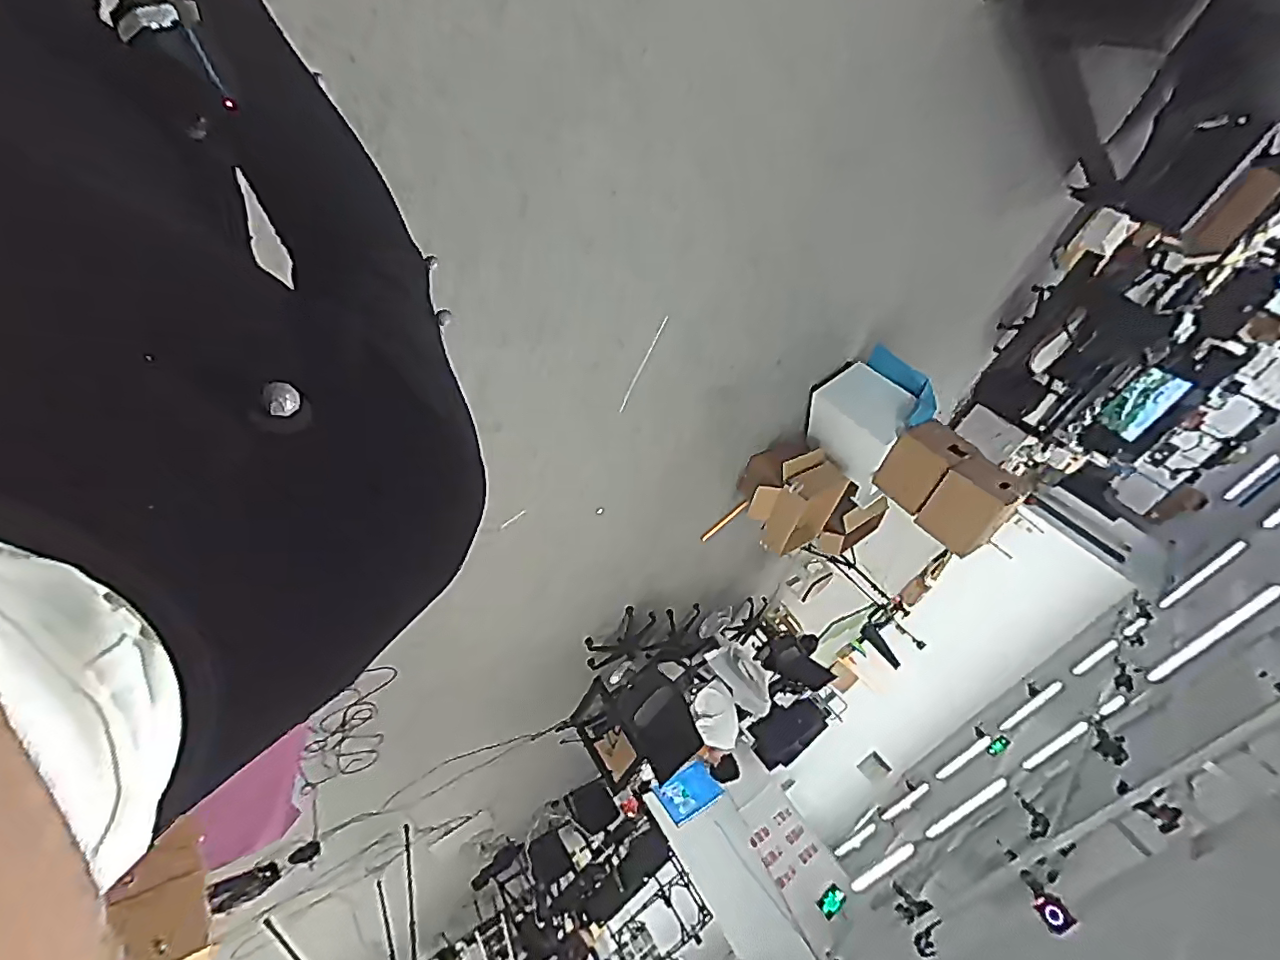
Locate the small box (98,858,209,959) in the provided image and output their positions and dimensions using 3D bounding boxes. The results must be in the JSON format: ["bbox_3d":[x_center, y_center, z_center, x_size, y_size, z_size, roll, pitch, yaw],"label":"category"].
[{"bbox_3d":[-1.086,0.999,1.205,0.179,0.176,0.168,-2,130,-45],"label":"small box"}]

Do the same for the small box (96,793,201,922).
[{"bbox_3d":[-1.175,0.897,1.294,0.179,0.176,0.168,-1,131,-44],"label":"small box"}]
